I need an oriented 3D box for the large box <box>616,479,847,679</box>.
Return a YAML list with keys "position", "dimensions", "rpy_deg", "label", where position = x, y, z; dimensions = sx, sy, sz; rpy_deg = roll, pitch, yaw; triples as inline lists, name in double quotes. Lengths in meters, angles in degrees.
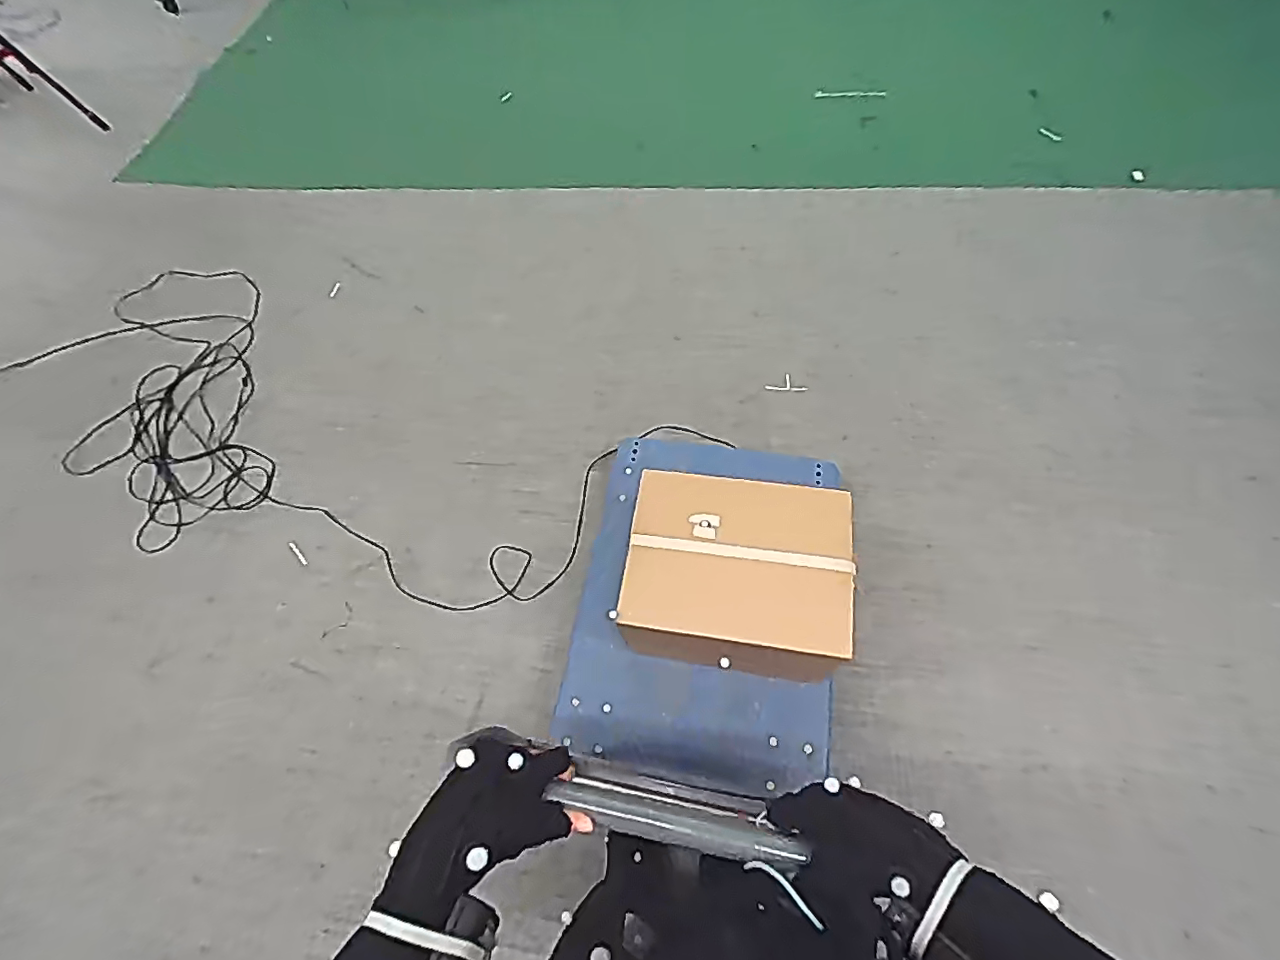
- position: [0.191, 0.216, 1.133]
  dimensions: [0.408, 0.320, 0.320]
  rpy_deg: [6, 62, 10]
  label: "large box"
